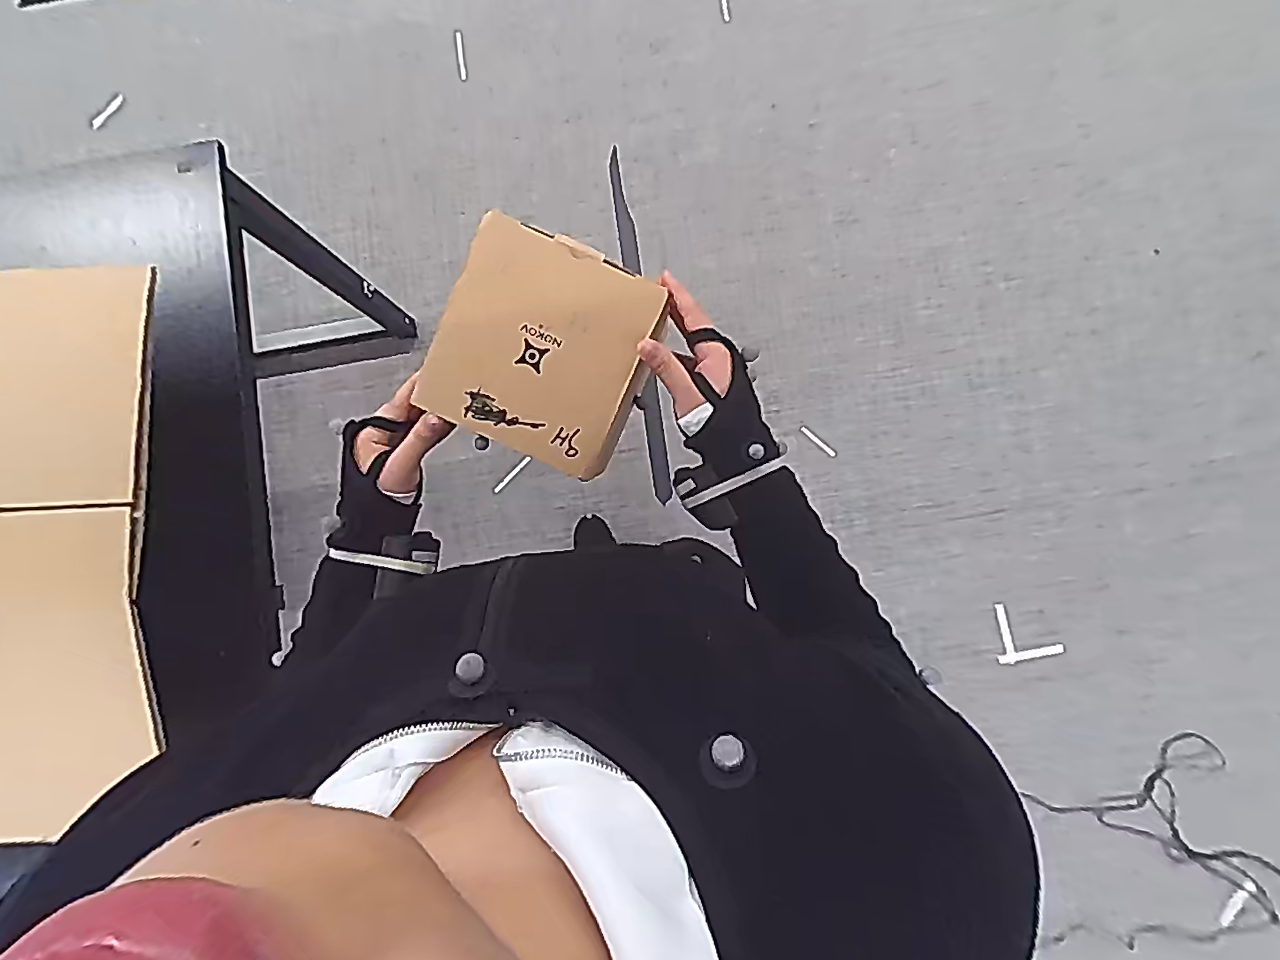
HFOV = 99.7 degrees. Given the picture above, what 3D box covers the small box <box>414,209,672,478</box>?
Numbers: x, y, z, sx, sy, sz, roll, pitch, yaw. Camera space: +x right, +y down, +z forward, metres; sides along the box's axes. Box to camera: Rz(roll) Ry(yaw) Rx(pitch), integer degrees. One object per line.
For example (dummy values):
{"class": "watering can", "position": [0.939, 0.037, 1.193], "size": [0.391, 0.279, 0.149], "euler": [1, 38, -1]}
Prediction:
{"class": "small box", "position": [-0.082, -0.117, 0.529], "size": [0.168, 0.176, 0.179], "euler": [25, 94, 0]}
